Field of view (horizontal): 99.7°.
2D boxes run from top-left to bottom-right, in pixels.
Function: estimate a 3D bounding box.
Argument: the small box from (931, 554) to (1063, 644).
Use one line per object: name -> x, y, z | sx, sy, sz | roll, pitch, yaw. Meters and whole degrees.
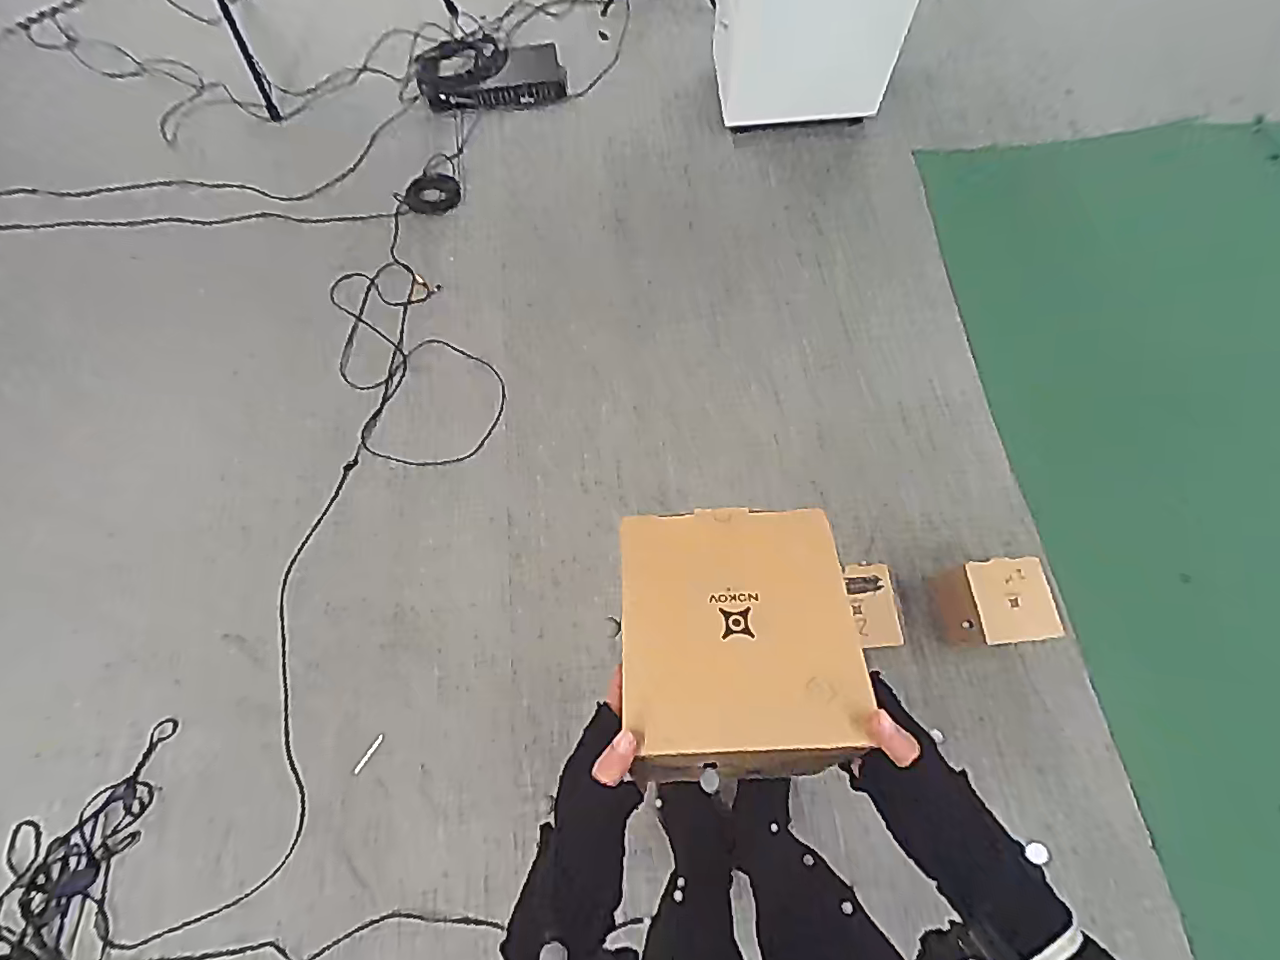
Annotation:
small box -> 0.796, 0.275, 1.226 | 0.168, 0.176, 0.179 | -5, 70, -1
